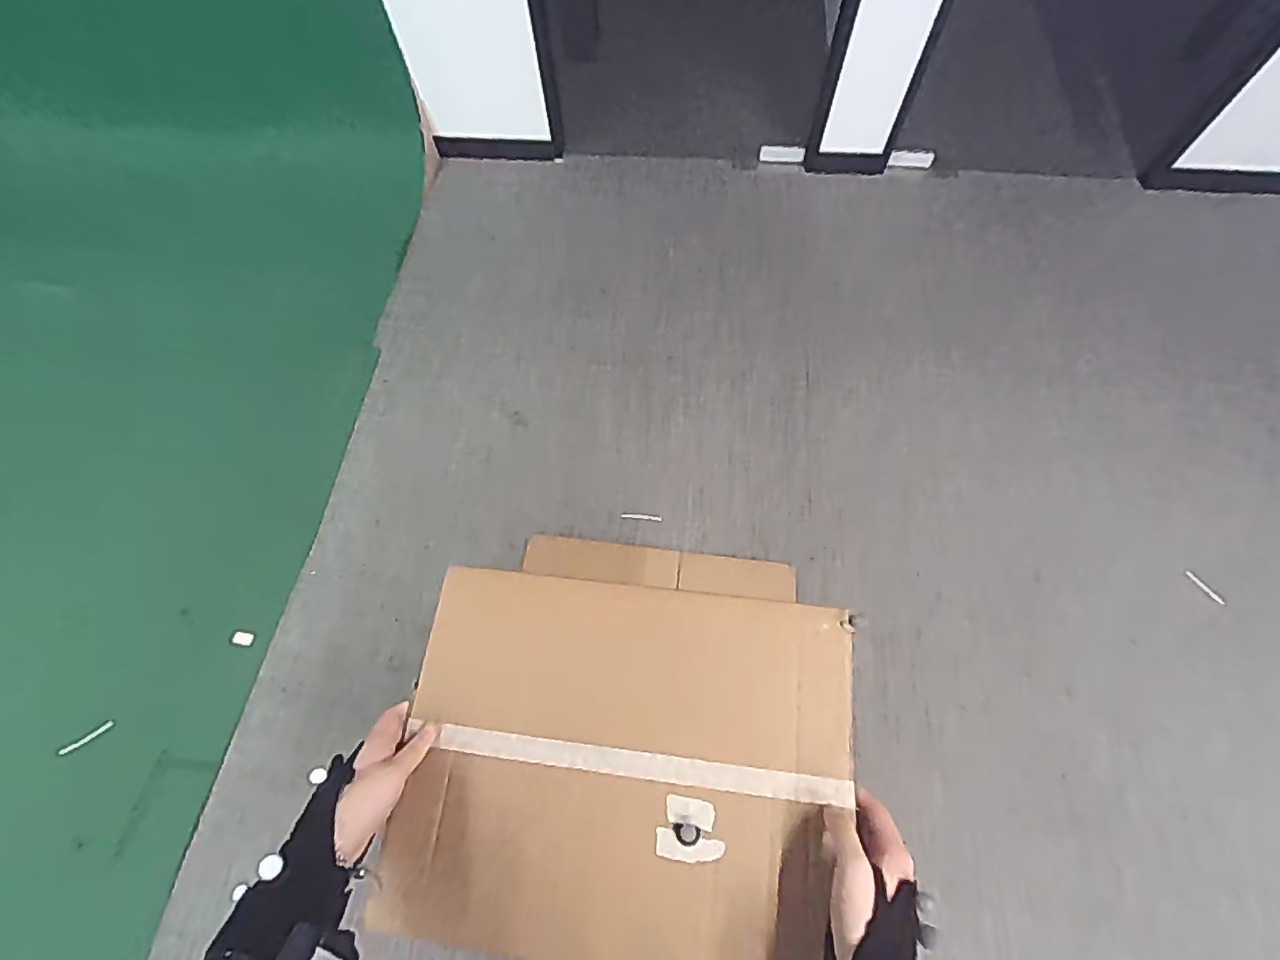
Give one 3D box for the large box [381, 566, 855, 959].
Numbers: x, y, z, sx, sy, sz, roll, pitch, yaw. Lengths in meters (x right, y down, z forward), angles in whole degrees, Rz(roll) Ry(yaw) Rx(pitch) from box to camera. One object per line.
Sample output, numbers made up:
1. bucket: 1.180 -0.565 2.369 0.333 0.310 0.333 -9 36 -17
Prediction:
1. large box: -0.004 0.300 0.634 0.408 0.320 0.320 5 70 6
